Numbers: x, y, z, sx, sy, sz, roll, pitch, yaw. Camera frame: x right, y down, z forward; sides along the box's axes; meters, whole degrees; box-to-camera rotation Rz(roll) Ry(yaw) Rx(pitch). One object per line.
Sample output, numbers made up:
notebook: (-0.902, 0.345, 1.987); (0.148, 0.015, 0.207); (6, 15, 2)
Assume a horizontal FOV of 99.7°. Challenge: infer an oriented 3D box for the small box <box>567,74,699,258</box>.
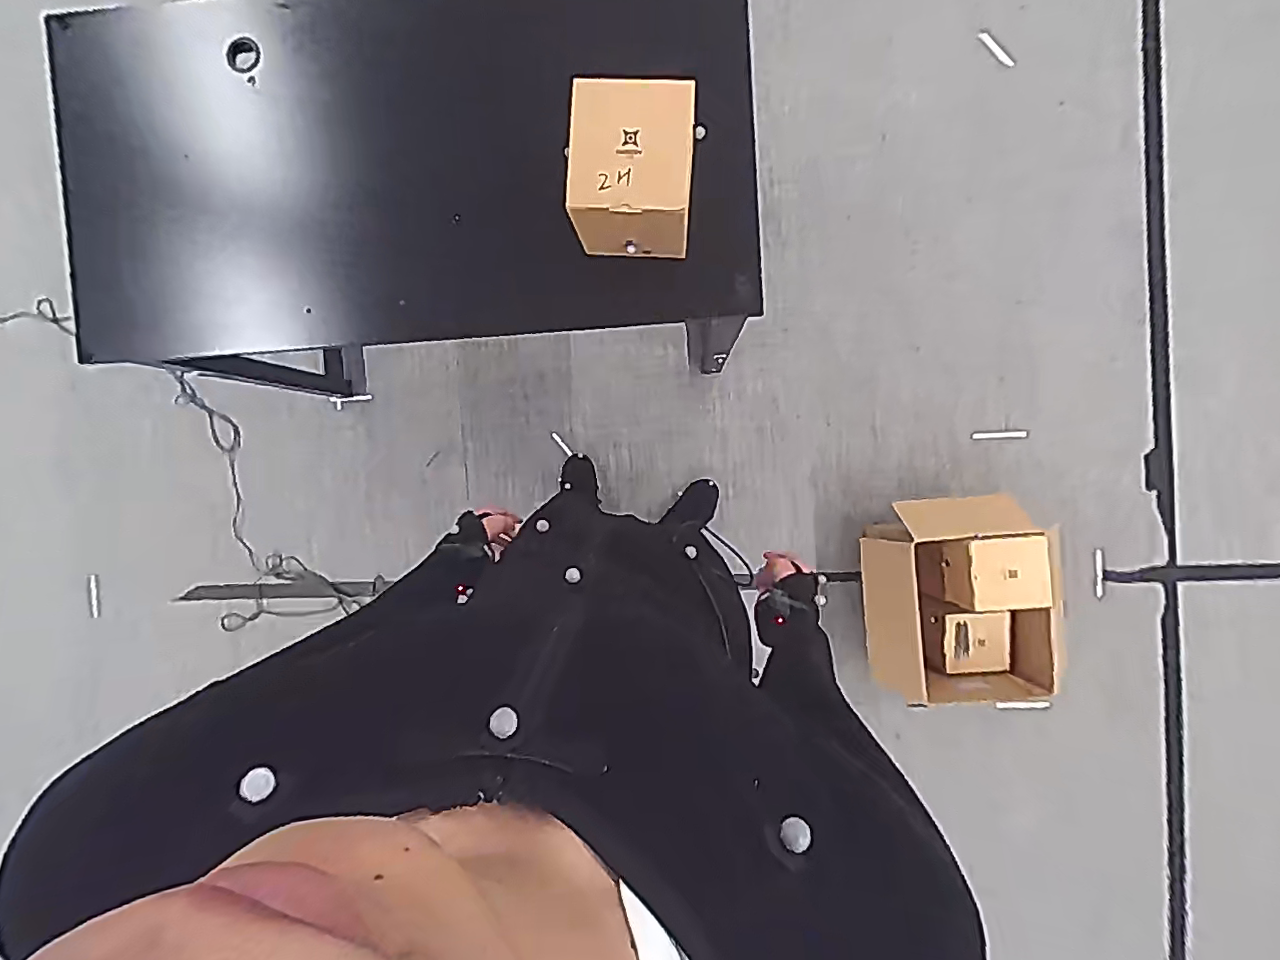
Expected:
small box: (-0.006, -0.451, 0.799); (0.168, 0.176, 0.179); (5, 92, 4)
